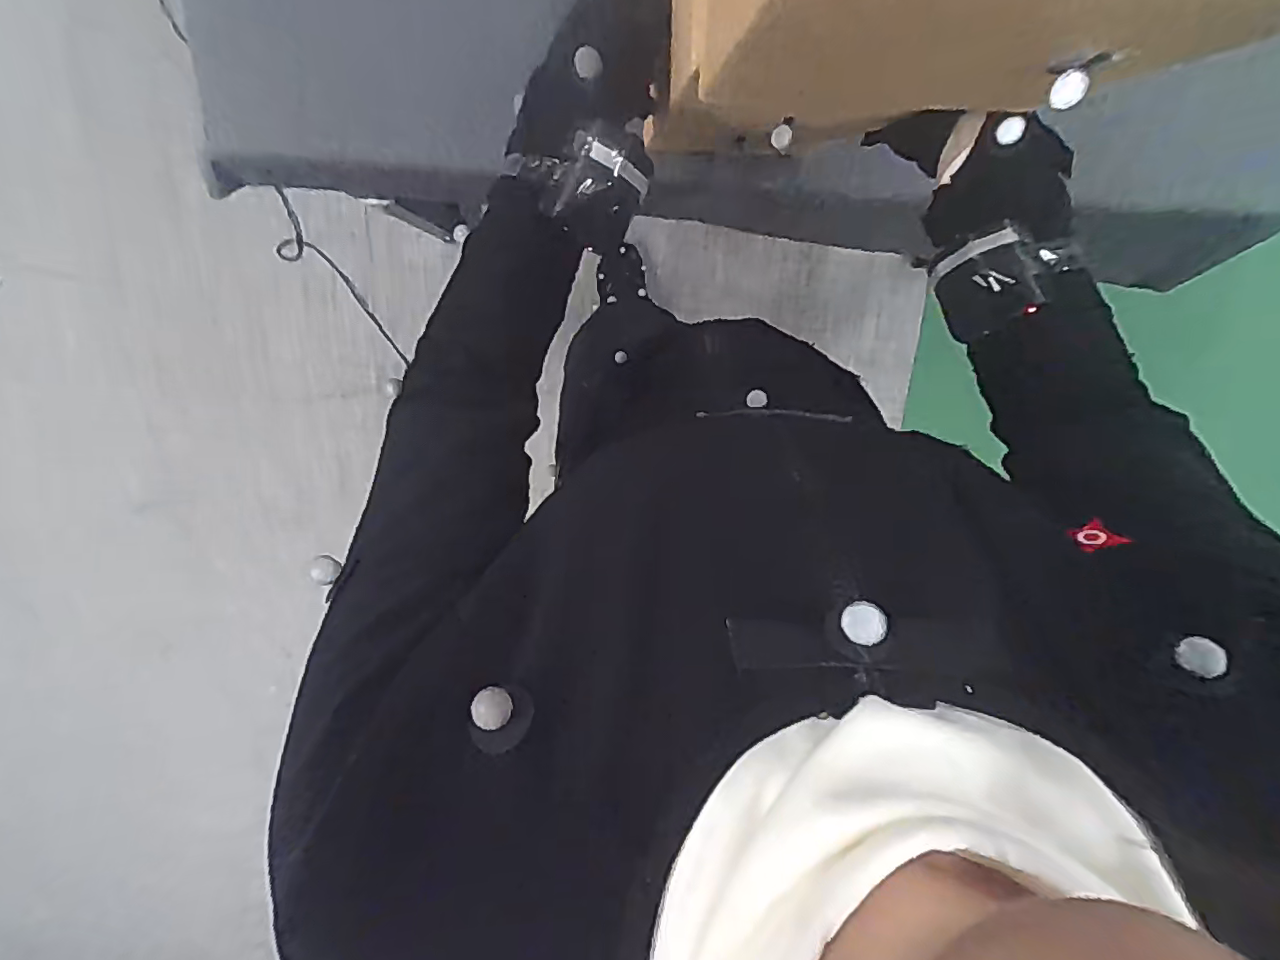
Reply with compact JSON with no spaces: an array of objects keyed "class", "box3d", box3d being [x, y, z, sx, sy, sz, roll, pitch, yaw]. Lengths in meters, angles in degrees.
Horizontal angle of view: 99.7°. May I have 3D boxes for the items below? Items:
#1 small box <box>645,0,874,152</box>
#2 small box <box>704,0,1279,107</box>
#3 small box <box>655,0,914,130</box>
[{"class":"small box","box3d":[0.100,-0.392,0.467,0.179,0.176,0.168,0,114,-3]},{"class":"small box","box3d":[0.124,-0.241,0.179,0.179,0.176,0.168,-1,113,-2]},{"class":"small box","box3d":[0.107,-0.321,0.319,0.179,0.176,0.168,-2,113,-4]}]
